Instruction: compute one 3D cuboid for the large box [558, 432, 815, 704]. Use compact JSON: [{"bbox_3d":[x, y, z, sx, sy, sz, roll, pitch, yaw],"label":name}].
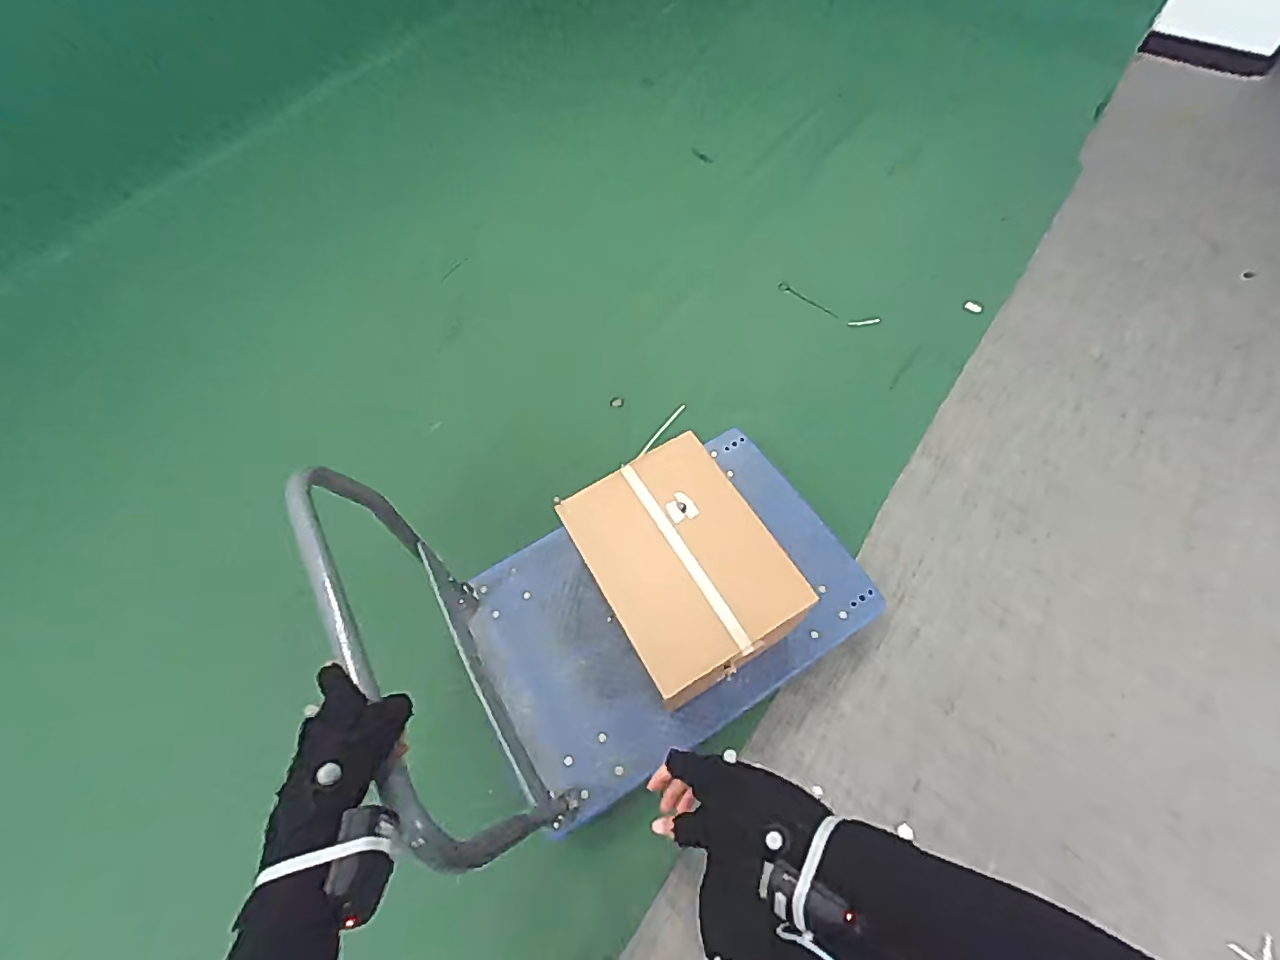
[{"bbox_3d":[0.086,0.188,1.117,0.320,0.320,0.408,-30,64,-11],"label":"large box"}]
